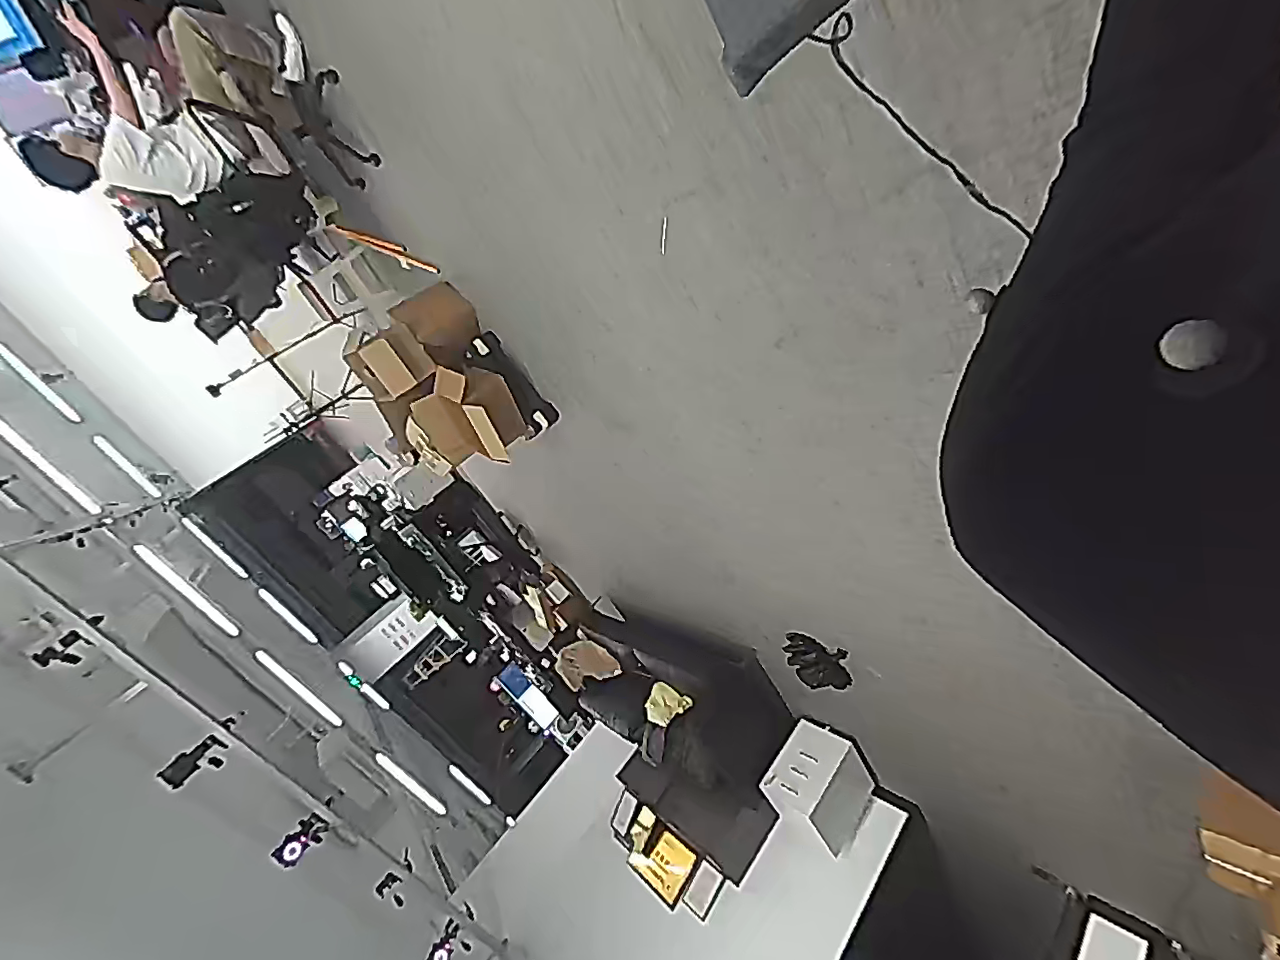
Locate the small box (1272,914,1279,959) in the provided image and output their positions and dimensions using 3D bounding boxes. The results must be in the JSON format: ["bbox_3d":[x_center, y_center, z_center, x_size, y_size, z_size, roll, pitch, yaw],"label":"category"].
[{"bbox_3d":[1.793,1.224,1.403,0.179,0.176,0.168,9,132,51],"label":"small box"}]
